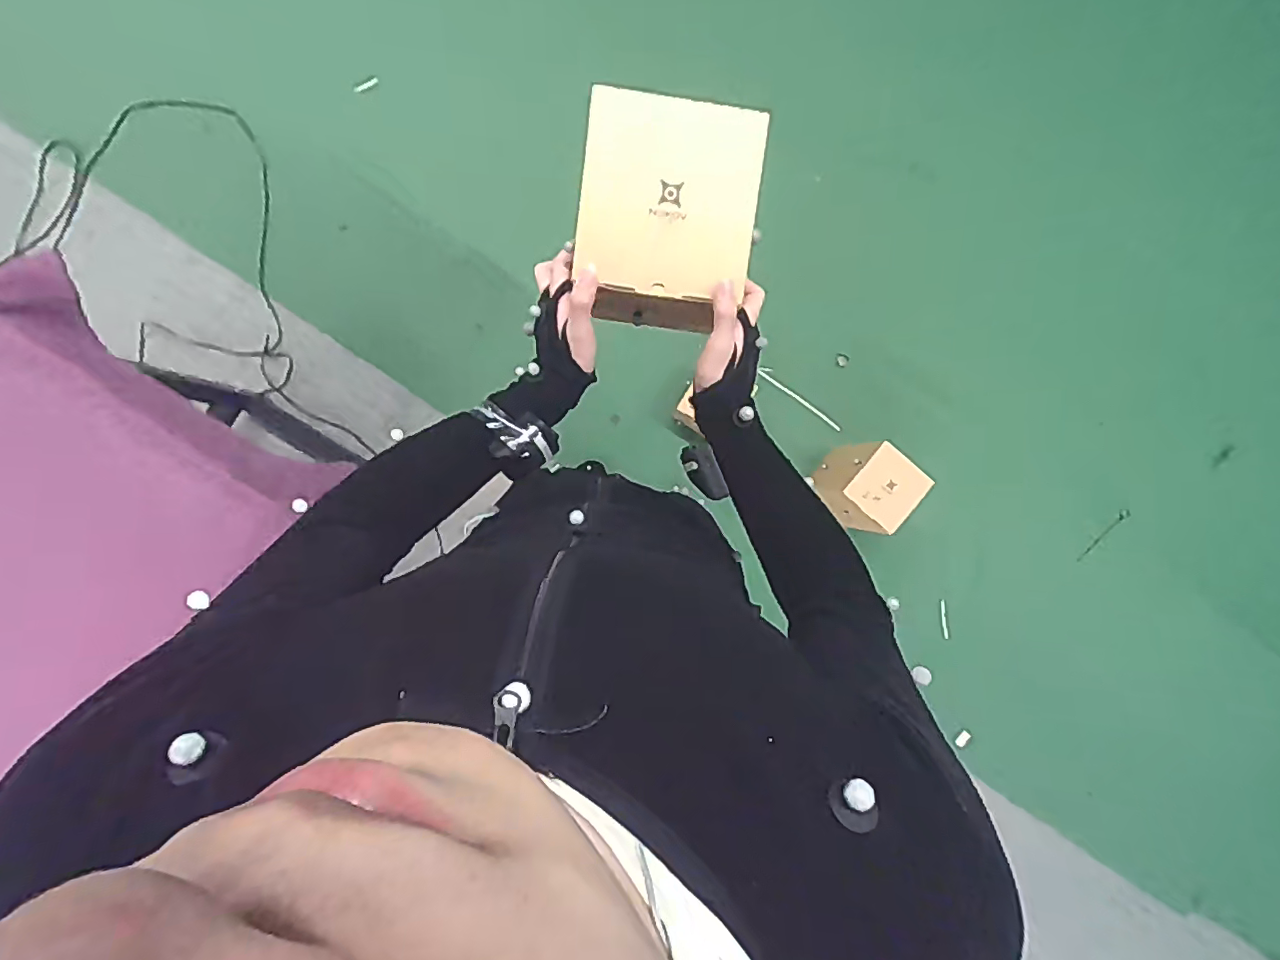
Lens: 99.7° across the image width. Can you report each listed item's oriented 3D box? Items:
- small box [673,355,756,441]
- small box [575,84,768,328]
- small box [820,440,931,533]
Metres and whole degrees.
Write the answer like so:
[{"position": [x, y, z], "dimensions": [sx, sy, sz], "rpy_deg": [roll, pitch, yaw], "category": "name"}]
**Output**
[{"position": [0.207, -0.229, 1.568], "dimensions": [0.168, 0.176, 0.179], "rpy_deg": [32, 88, -2], "category": "small box"}, {"position": [0.023, -0.271, 0.578], "dimensions": [0.168, 0.176, 0.179], "rpy_deg": [6, 98, -4], "category": "small box"}, {"position": [0.607, 0.016, 1.419], "dimensions": [0.168, 0.176, 0.179], "rpy_deg": [41, 89, -2], "category": "small box"}]
